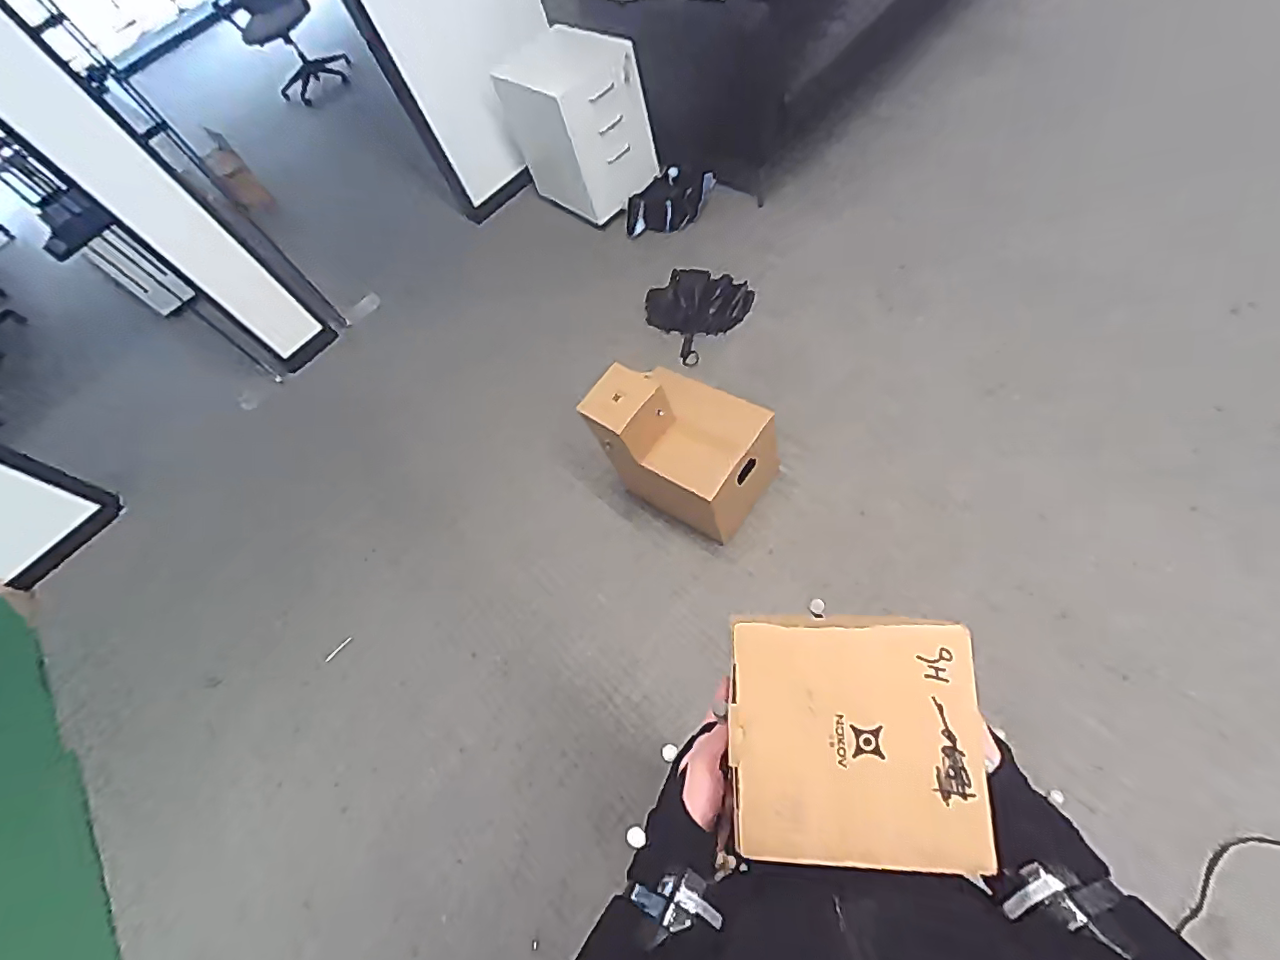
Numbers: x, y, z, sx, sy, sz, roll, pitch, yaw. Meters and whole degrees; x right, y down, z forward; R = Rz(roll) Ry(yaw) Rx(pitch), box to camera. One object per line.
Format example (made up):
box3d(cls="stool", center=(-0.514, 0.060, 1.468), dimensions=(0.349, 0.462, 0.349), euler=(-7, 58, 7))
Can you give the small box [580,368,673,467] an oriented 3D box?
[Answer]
box3d(cls="small box", center=(-0.027, -0.169, 1.479), dimensions=(0.168, 0.176, 0.179), euler=(31, 78, 31))
